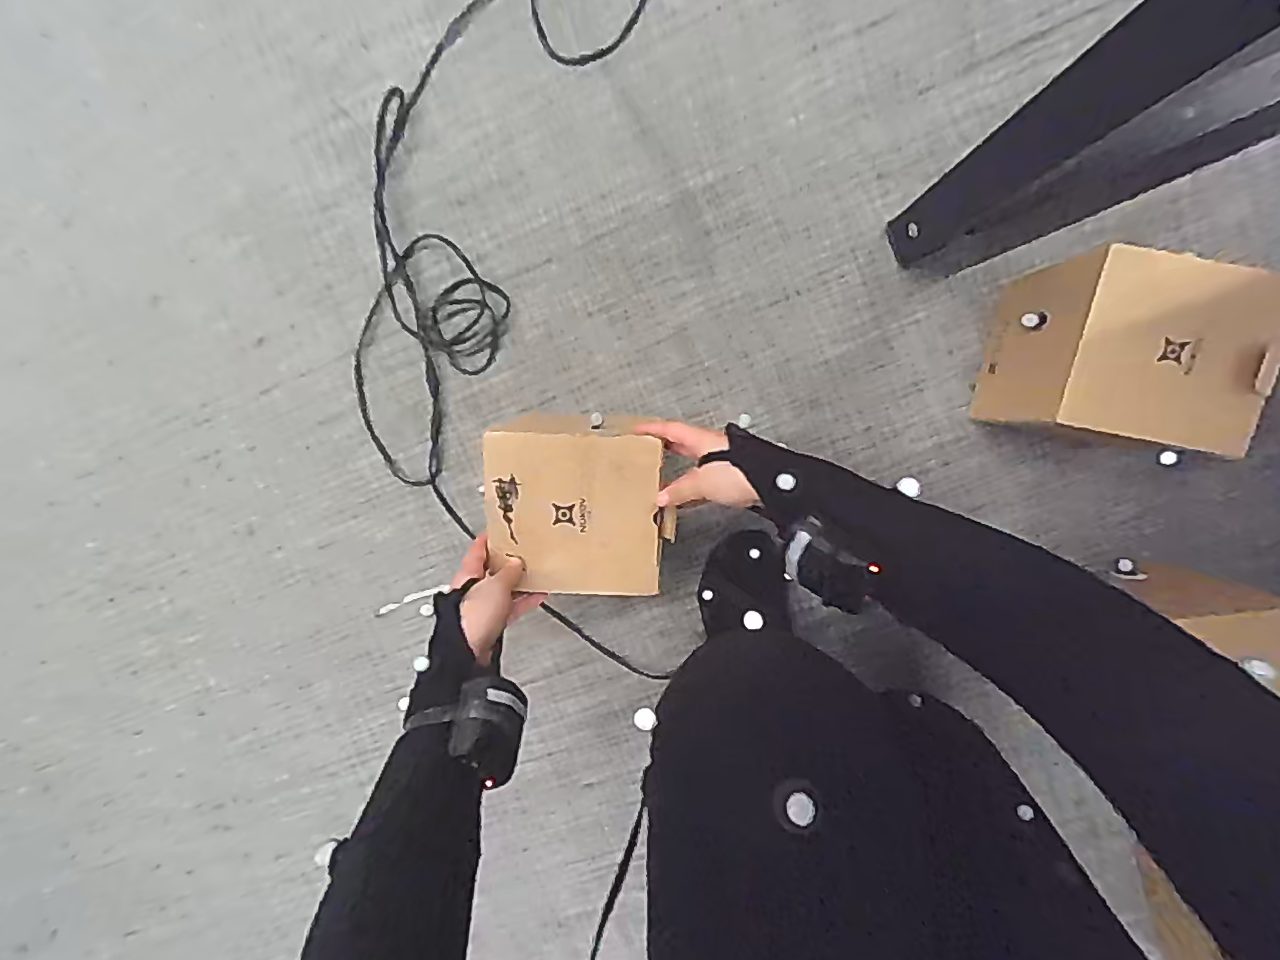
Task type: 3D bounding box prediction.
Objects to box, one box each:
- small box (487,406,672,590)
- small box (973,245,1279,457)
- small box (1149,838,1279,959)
[{"bbox_3d":[-0.059,0.009,0.600,0.179,0.176,0.168,2,103,1],"label":"small box"},{"bbox_3d":[0.493,-0.125,0.568,0.179,0.176,0.168,11,98,3],"label":"small box"},{"bbox_3d":[0.758,0.559,0.635,0.168,0.176,0.179,-16,97,7],"label":"small box"}]
